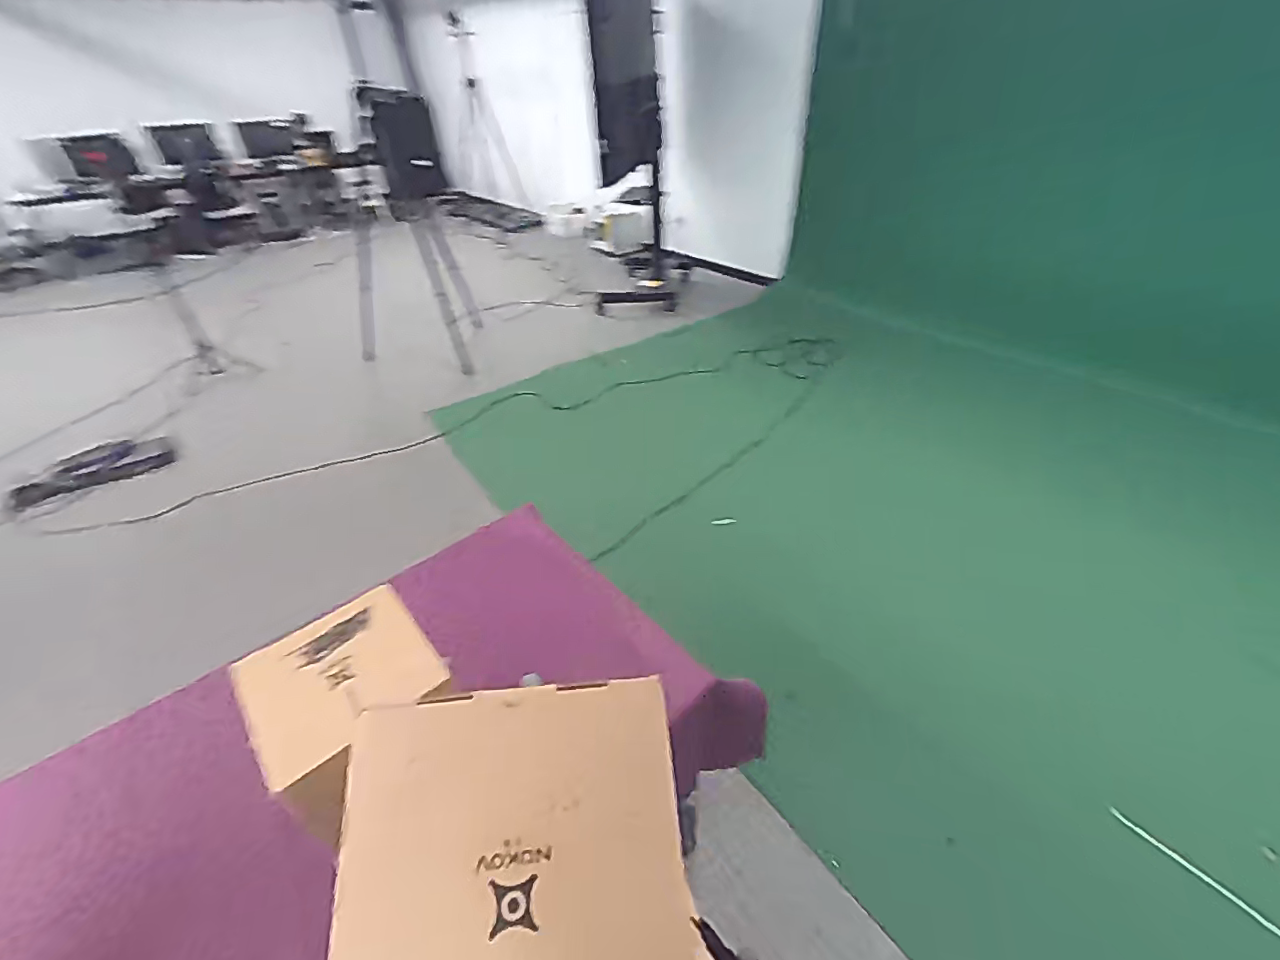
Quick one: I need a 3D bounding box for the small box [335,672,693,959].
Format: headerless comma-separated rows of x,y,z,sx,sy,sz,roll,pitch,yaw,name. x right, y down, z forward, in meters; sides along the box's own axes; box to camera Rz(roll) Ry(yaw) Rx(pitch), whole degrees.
-0.066,0.226,0.336,0.168,0.176,0.179,-3,65,-6,small box

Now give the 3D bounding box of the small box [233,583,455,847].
-0.306,0.256,0.600,0.168,0.176,0.179,-31,46,-31,small box
